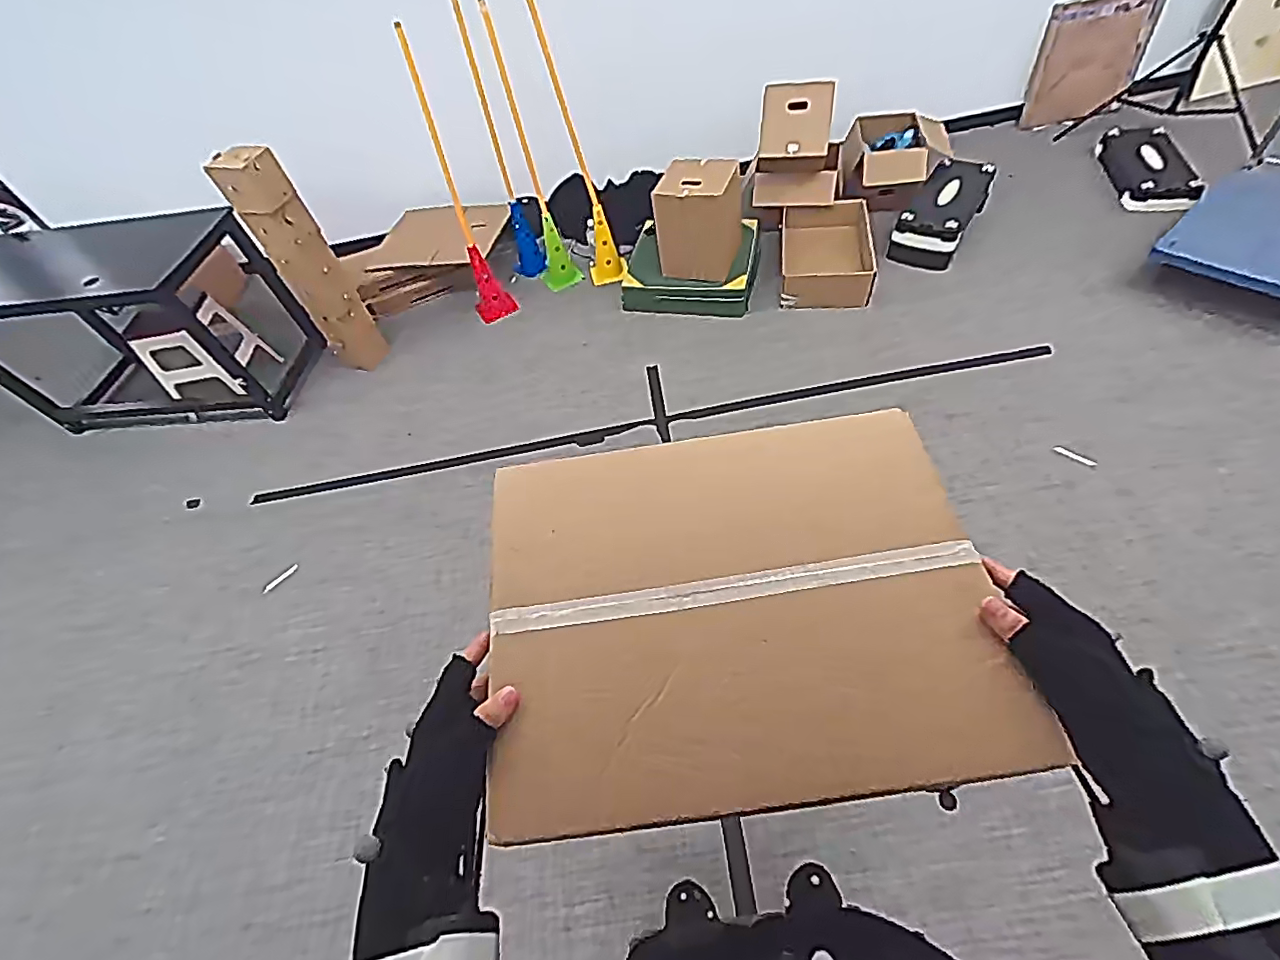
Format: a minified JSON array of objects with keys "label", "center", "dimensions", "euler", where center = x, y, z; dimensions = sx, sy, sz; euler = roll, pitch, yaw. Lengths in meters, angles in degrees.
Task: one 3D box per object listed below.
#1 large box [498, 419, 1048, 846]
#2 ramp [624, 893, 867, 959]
[{"label":"large box","center":[0.090,0.173,0.585],"dimensions":[0.408,0.320,0.320],"euler":[-8,58,0]},{"label":"ramp","center":[0.274,1.350,0.924],"dimensions":[0.509,0.206,0.991],"euler":[-10,53,0]}]
